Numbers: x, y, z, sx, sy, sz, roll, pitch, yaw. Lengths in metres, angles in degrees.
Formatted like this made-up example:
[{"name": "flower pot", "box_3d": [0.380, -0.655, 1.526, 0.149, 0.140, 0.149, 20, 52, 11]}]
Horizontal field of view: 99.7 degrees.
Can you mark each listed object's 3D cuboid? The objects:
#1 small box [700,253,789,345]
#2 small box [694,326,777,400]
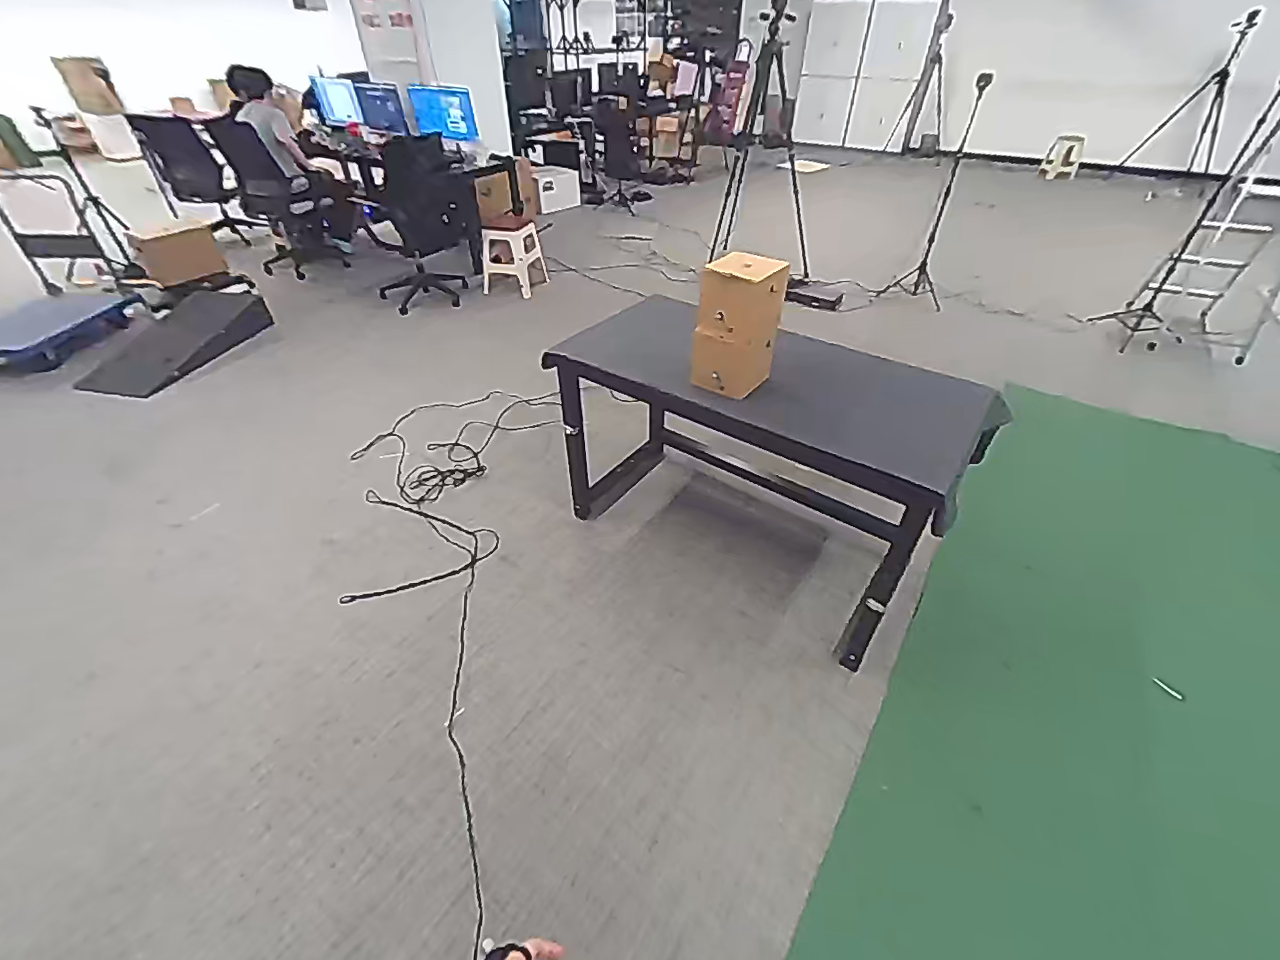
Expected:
[{"name": "small box", "box_3d": [0.272, -0.482, 1.439, 0.168, 0.176, 0.179, 26, 46, 28]}, {"name": "small box", "box_3d": [0.265, -0.352, 1.536, 0.168, 0.176, 0.179, 25, 45, 29]}]
